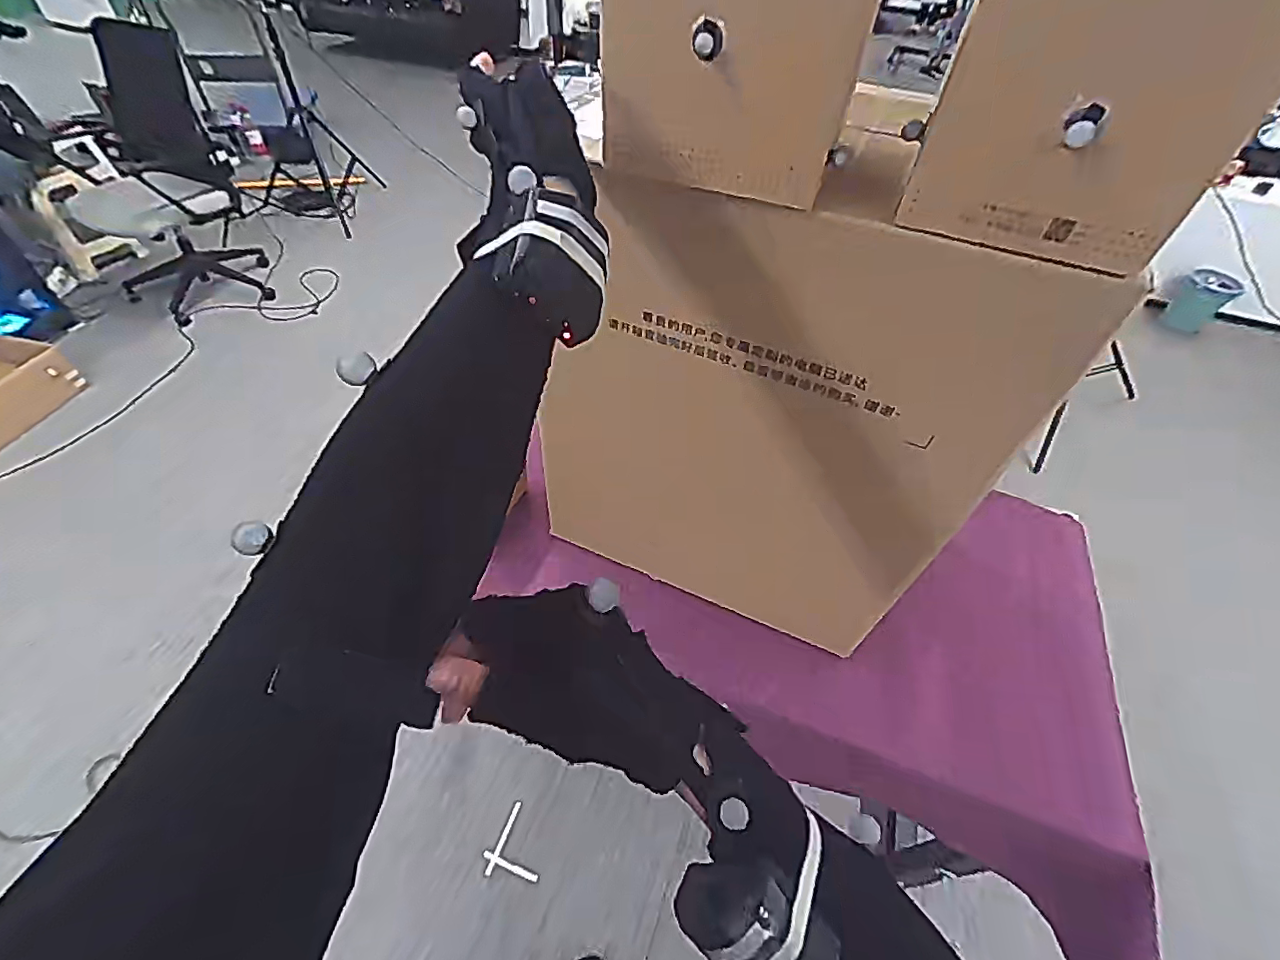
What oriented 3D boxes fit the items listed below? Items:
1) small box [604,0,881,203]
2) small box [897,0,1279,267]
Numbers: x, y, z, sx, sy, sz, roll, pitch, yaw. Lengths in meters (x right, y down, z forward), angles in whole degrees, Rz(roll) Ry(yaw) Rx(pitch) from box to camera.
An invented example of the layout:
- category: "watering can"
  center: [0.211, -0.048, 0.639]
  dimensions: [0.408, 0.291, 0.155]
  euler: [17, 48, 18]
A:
- category: "small box"
  center: [0.083, -0.339, 0.420]
  dimensions: [0.179, 0.176, 0.168]
  euler: [17, 51, 13]
- category: "small box"
  center: [0.301, -0.277, 0.380]
  dimensions: [0.168, 0.176, 0.179]
  euler: [21, 52, 13]
